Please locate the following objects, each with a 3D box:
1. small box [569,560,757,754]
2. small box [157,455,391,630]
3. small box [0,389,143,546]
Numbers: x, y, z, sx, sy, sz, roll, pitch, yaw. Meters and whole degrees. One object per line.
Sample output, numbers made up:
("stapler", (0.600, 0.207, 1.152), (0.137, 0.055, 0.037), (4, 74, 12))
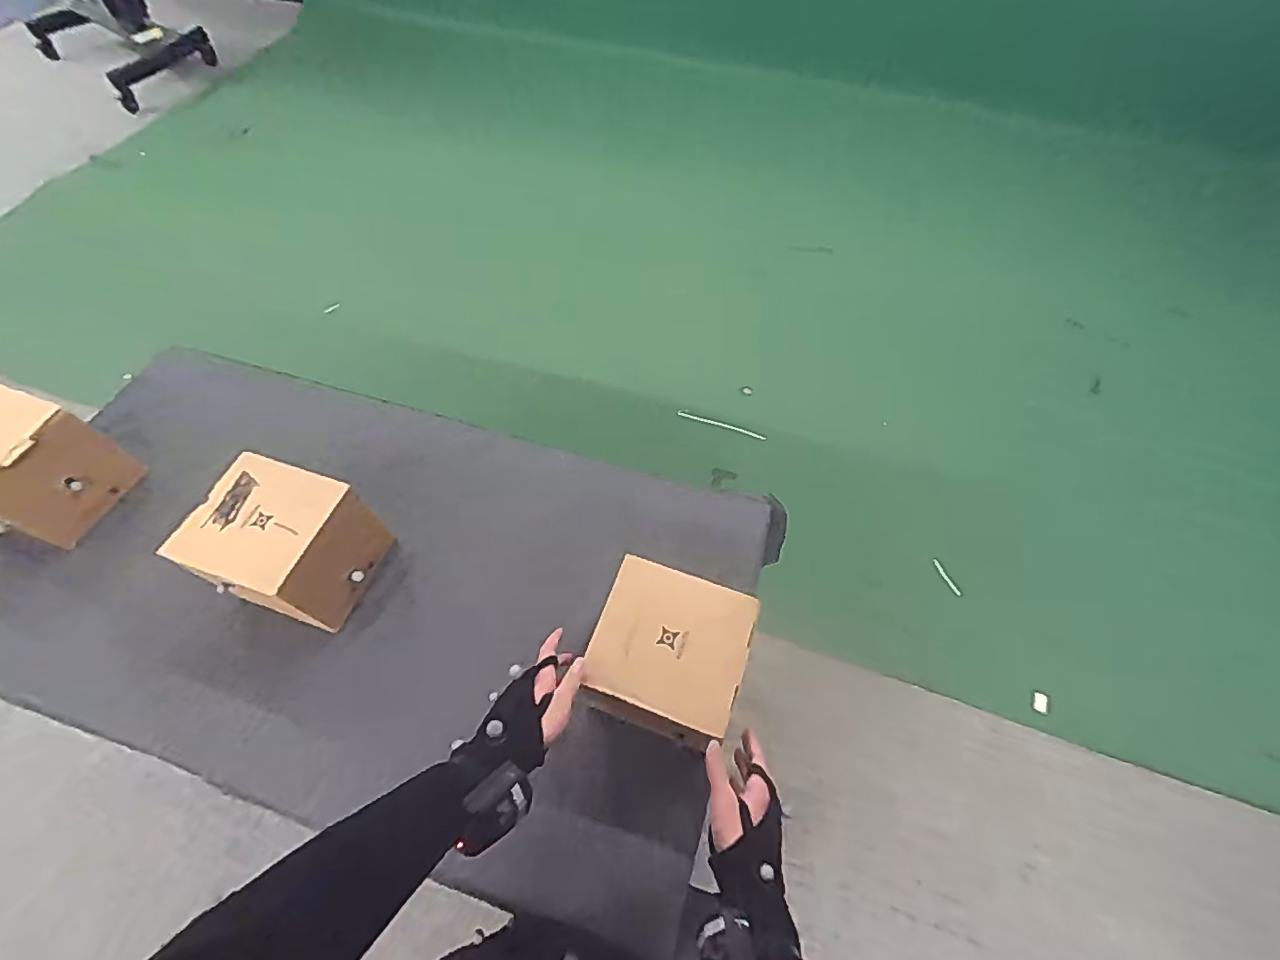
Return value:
("small box", (0.031, 0.229, 0.683), (0.179, 0.176, 0.168), (17, 60, 12))
("small box", (-0.497, 0.095, 0.765), (0.179, 0.176, 0.168), (17, 61, 9))
("small box", (-0.946, -0.016, 0.833), (0.179, 0.176, 0.168), (18, 61, 9))
